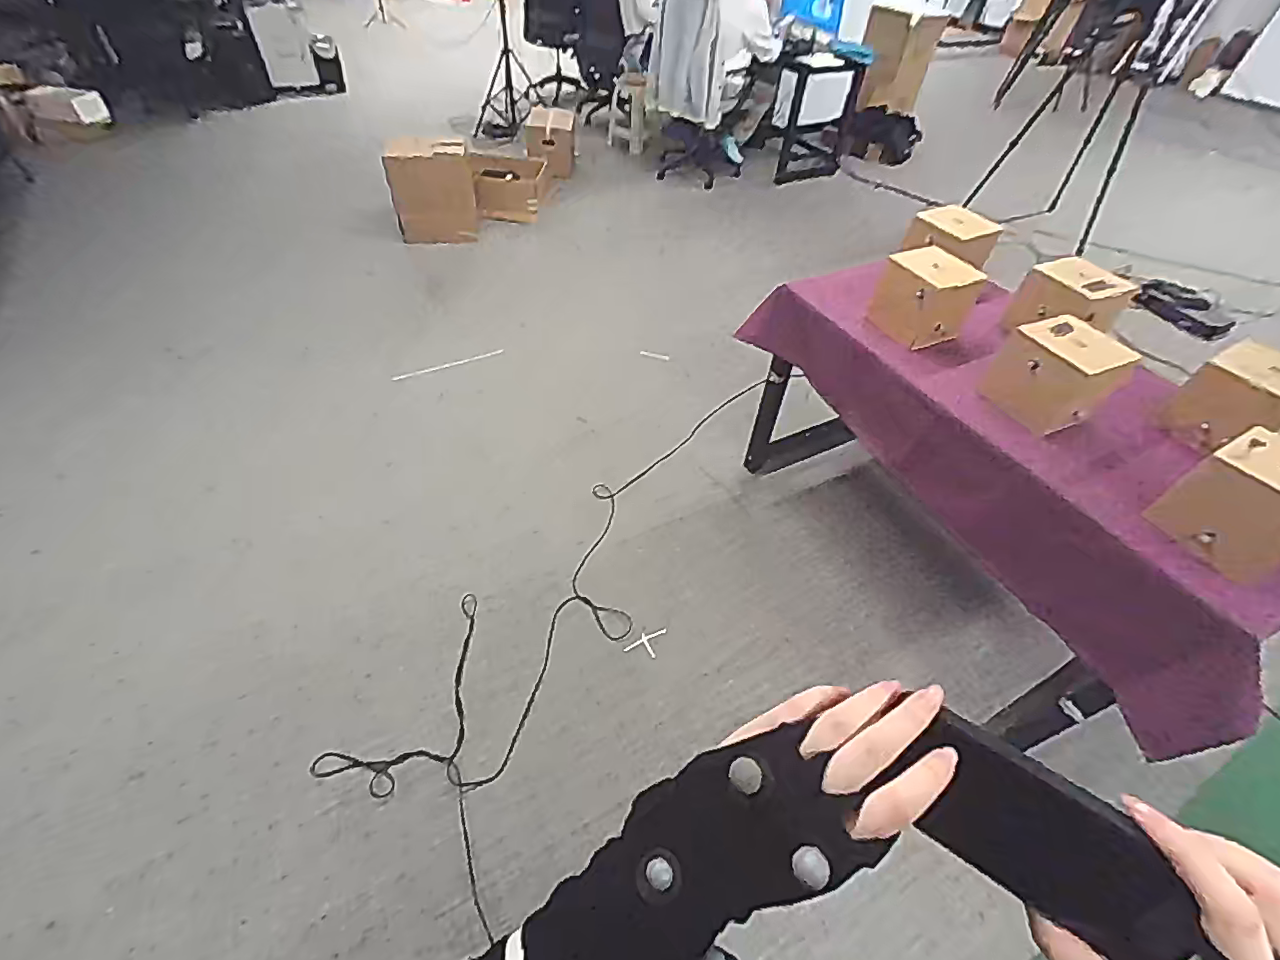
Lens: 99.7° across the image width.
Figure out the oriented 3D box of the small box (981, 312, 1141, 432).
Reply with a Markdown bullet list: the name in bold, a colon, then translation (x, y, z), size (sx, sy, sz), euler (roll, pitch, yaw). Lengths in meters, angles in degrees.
- **small box**: translation (0.887, -0.231, 1.160), size (0.168, 0.176, 0.179), euler (-17, 52, -18)

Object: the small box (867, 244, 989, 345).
- **small box**: translation (0.710, -0.465, 1.358), size (0.168, 0.176, 0.179), euler (-18, 53, -19)

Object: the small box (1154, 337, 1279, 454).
- **small box**: translation (1.245, -0.167, 1.126), size (0.179, 0.176, 0.168), euler (-22, 53, -21)

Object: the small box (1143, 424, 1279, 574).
- **small box**: translation (1.049, 0.039, 0.929), size (0.168, 0.176, 0.179), euler (-20, 53, -21)
